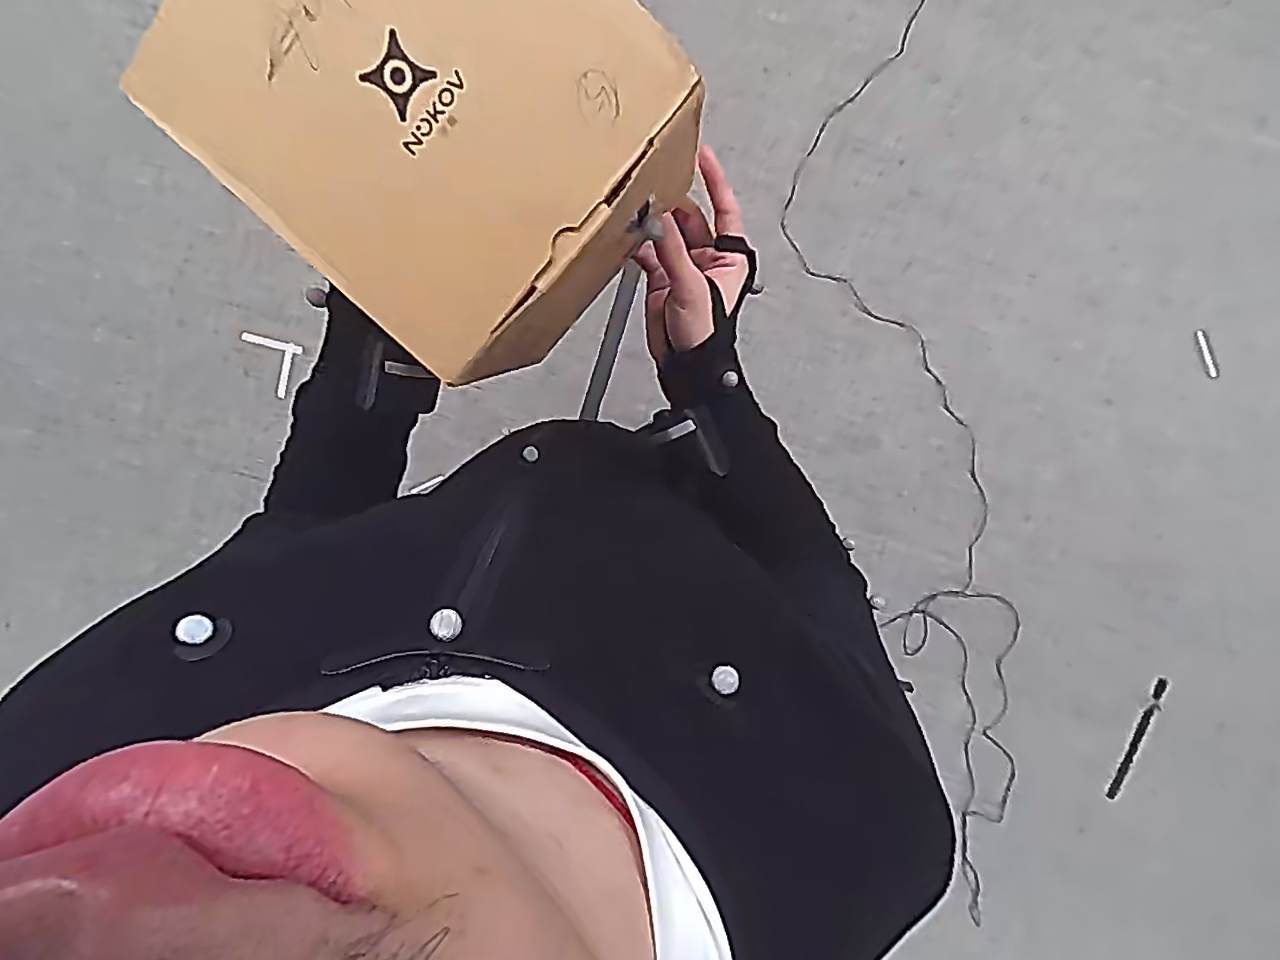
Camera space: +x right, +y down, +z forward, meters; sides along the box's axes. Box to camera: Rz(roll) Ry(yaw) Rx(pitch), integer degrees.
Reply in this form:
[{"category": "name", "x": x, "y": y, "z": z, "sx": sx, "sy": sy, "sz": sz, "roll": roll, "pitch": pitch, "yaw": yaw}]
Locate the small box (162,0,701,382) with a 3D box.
[{"category": "small box", "x": -0.085, "y": -0.181, "z": 0.303, "sx": 0.179, "sy": 0.176, "sz": 0.168, "roll": 42, "pitch": 103, "yaw": -8}]
